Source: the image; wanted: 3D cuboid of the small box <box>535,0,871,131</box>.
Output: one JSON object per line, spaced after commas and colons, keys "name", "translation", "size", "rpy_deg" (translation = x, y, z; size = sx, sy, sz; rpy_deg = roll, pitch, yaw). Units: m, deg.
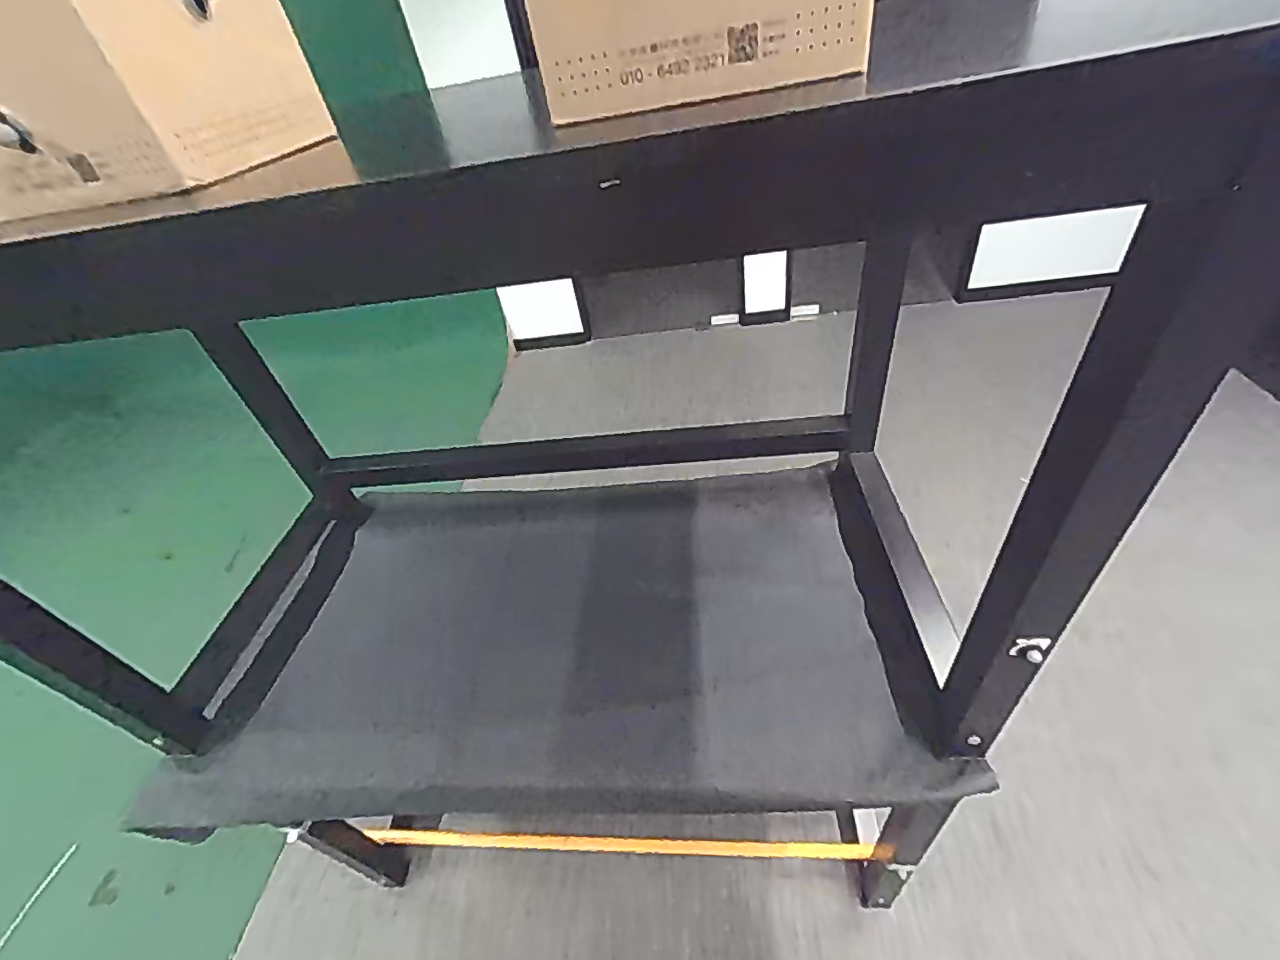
{"name": "small box", "translation": [0.031, -0.308, 0.296], "size": [0.168, 0.176, 0.179], "rpy_deg": [-3, 41, 9]}
